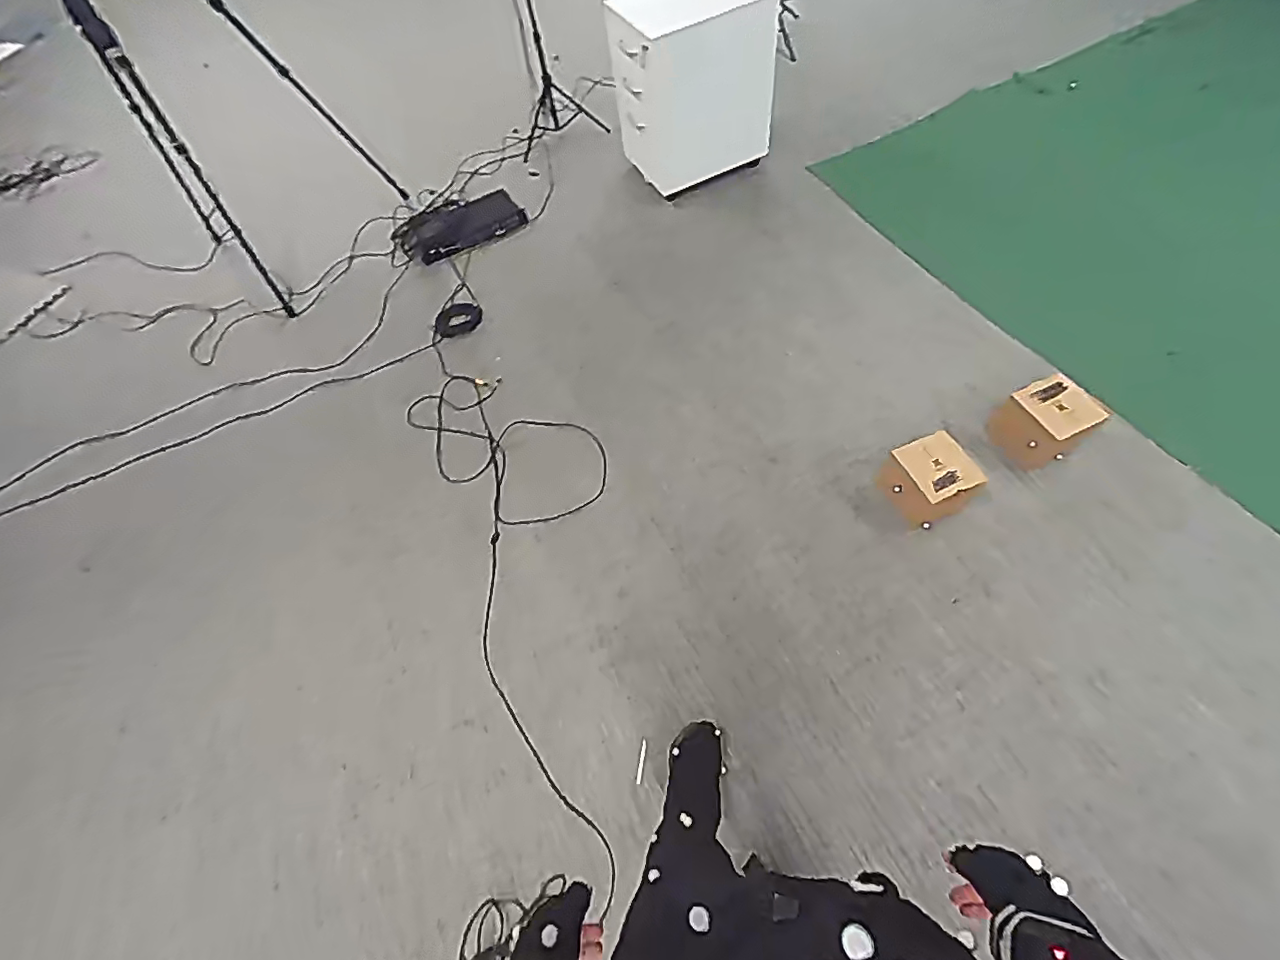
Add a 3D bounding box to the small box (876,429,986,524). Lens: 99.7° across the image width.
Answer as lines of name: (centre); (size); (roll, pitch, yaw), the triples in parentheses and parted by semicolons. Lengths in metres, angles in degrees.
small box: (0.771, -0.001, 1.453); (0.168, 0.176, 0.179); (-22, 59, -6)
